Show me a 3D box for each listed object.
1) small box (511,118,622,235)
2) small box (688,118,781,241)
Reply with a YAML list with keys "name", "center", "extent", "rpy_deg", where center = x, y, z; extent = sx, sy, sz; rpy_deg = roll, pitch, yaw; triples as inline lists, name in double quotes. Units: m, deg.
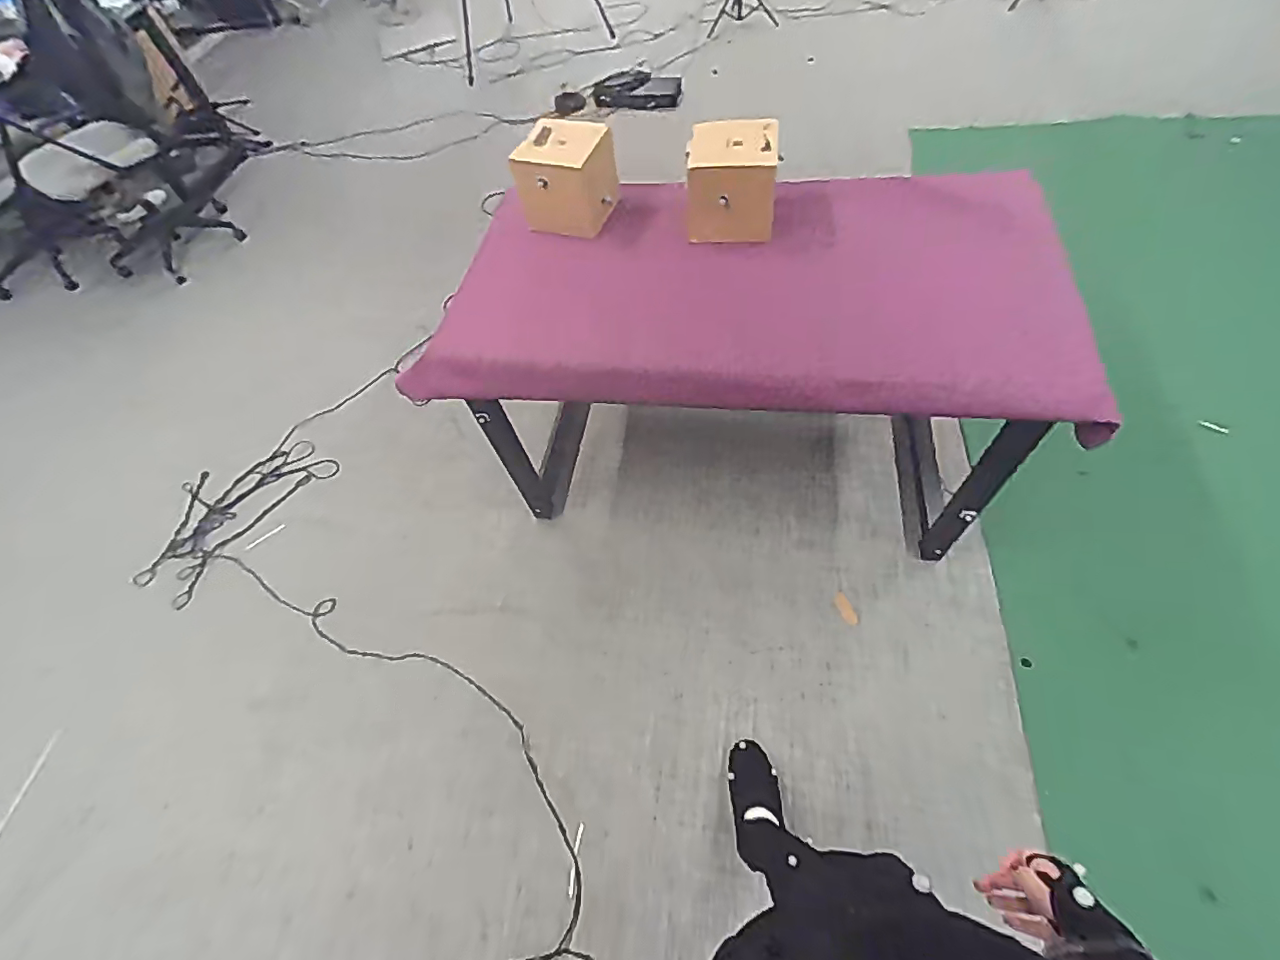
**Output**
- name: "small box"
  center: [-0.157, -0.680, 1.218]
  extent: [0.179, 0.176, 0.168]
  rpy_deg: [16, 63, 15]
- name: "small box"
  center: [0.200, -0.625, 1.137]
  extent: [0.179, 0.176, 0.168]
  rpy_deg: [4, 61, 11]
